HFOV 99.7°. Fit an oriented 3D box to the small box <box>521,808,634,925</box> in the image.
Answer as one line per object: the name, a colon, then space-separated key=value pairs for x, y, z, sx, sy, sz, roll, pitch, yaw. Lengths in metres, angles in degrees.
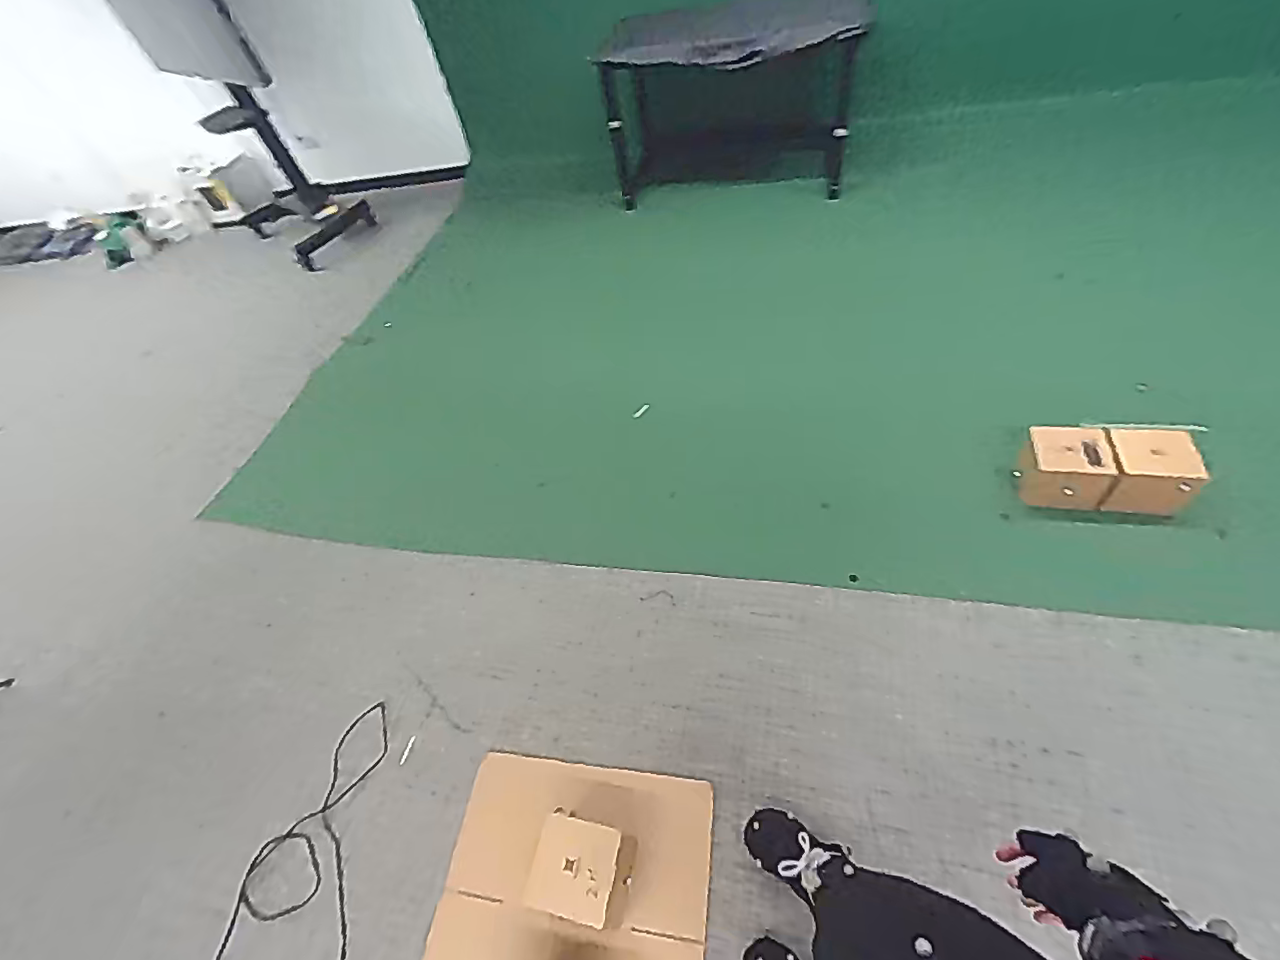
small box: x=-0.125 y=0.827 z=1.161 sx=0.179 sy=0.176 sz=0.168 roll=4 pitch=55 yaw=16
